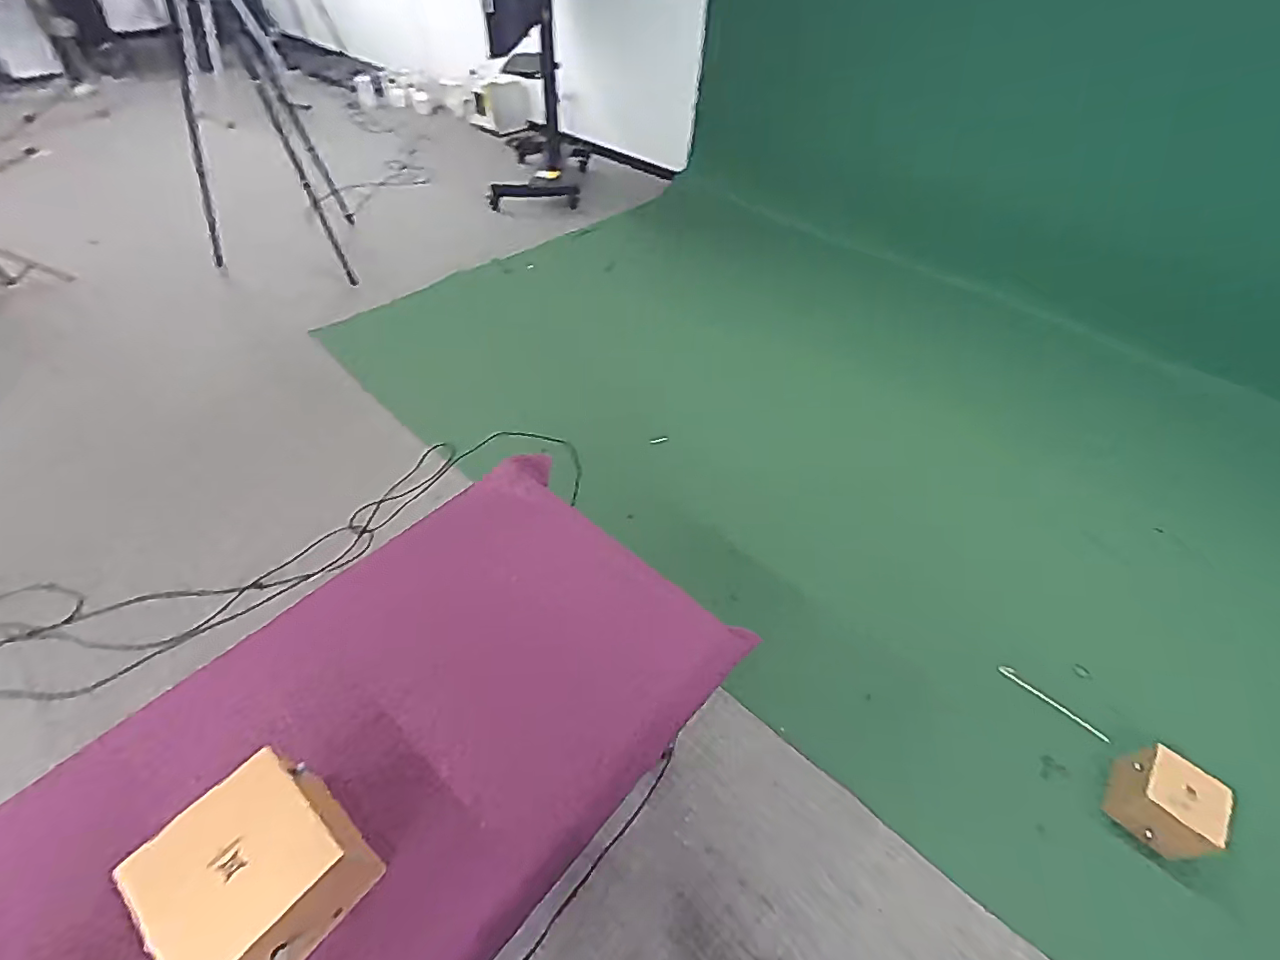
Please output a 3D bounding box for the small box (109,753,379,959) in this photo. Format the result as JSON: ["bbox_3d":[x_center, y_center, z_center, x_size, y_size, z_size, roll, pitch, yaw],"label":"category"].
[{"bbox_3d":[-0.442,0.465,0.633,0.179,0.176,0.168,32,53,23],"label":"small box"}]

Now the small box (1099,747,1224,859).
[{"bbox_3d":[1.358,0.847,1.417,0.168,0.176,0.179,36,55,25],"label":"small box"}]
